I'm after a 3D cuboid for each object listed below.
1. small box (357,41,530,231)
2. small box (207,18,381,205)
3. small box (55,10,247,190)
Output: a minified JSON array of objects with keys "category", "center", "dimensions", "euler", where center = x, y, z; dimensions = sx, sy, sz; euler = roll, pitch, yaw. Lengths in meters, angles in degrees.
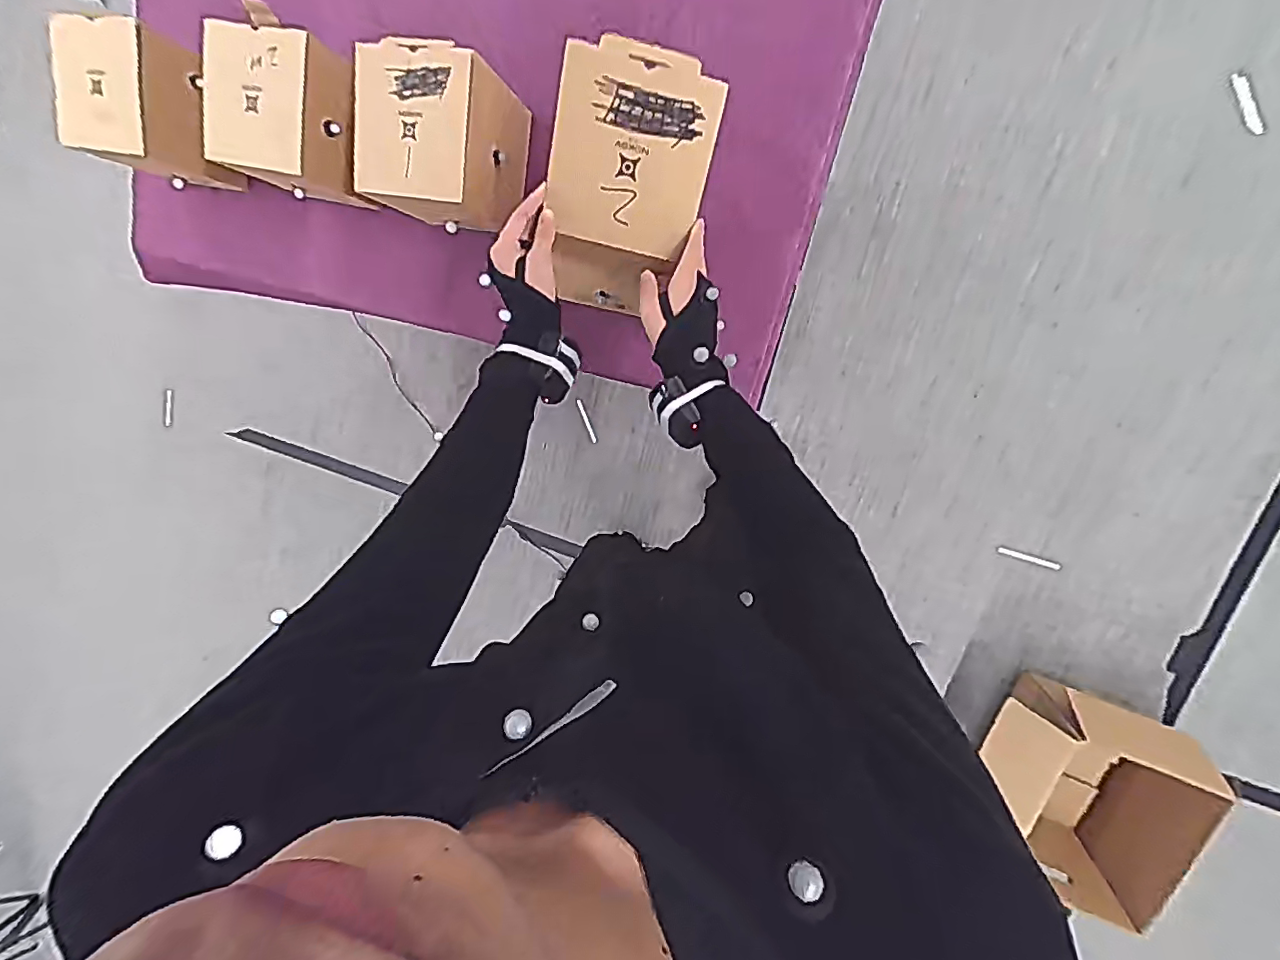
[{"category":"small box","center":[-0.269,-0.474,0.767],"dimensions":[0.168,0.176,0.179],"euler":[11,104,11]},{"category":"small box","center":[-0.500,-0.535,0.809],"dimensions":[0.168,0.176,0.179],"euler":[15,104,10]},{"category":"small box","center":[-0.764,-0.592,0.861],"dimensions":[0.168,0.176,0.179],"euler":[13,103,11]}]
